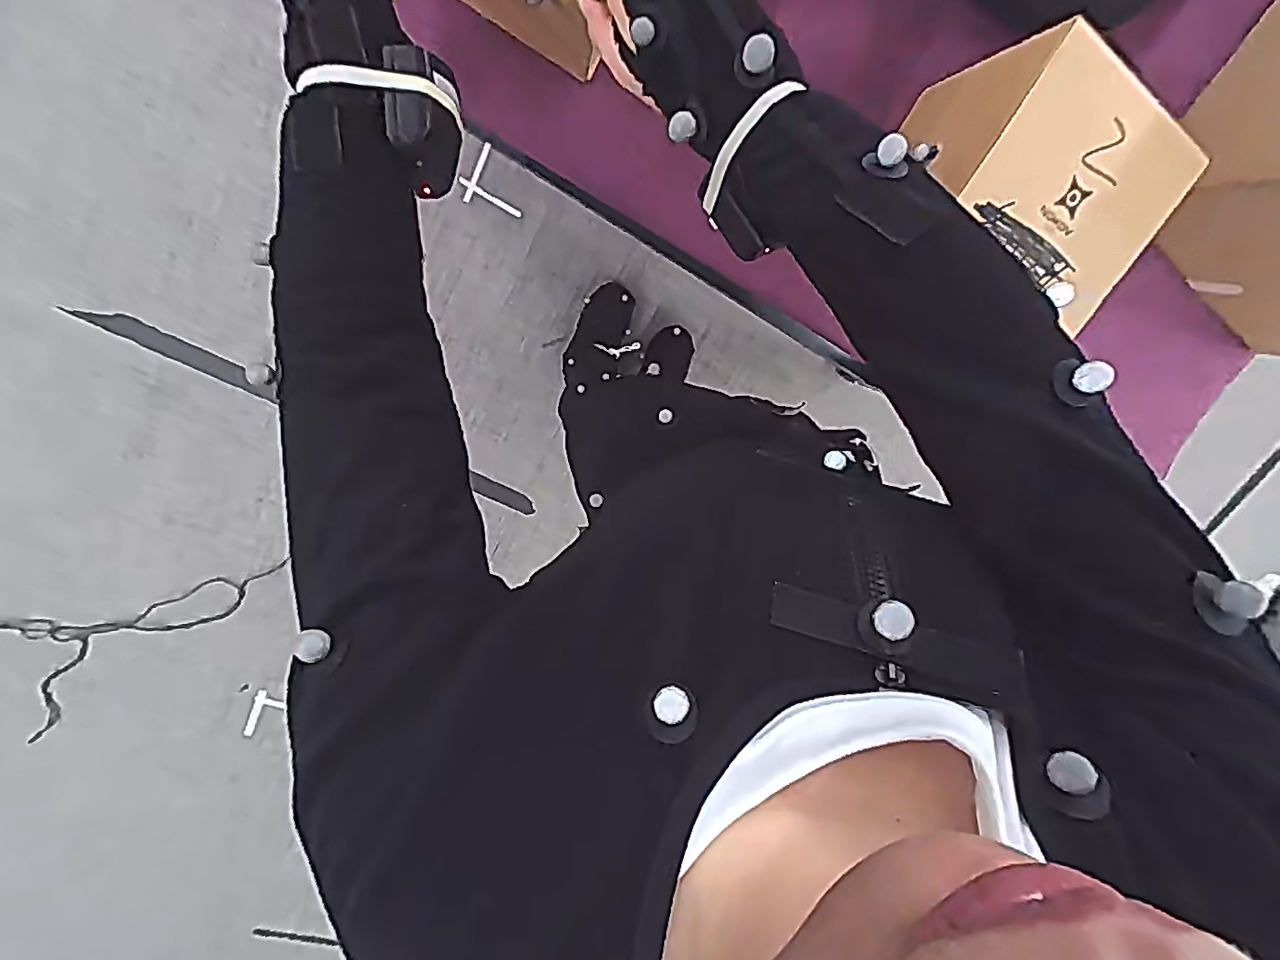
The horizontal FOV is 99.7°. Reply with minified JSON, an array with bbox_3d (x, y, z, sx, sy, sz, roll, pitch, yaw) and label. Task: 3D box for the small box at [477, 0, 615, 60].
[{"bbox_3d":[-0.076,-0.424,0.349,0.179,0.176,0.168,23,106,-18],"label":"small box"}]
